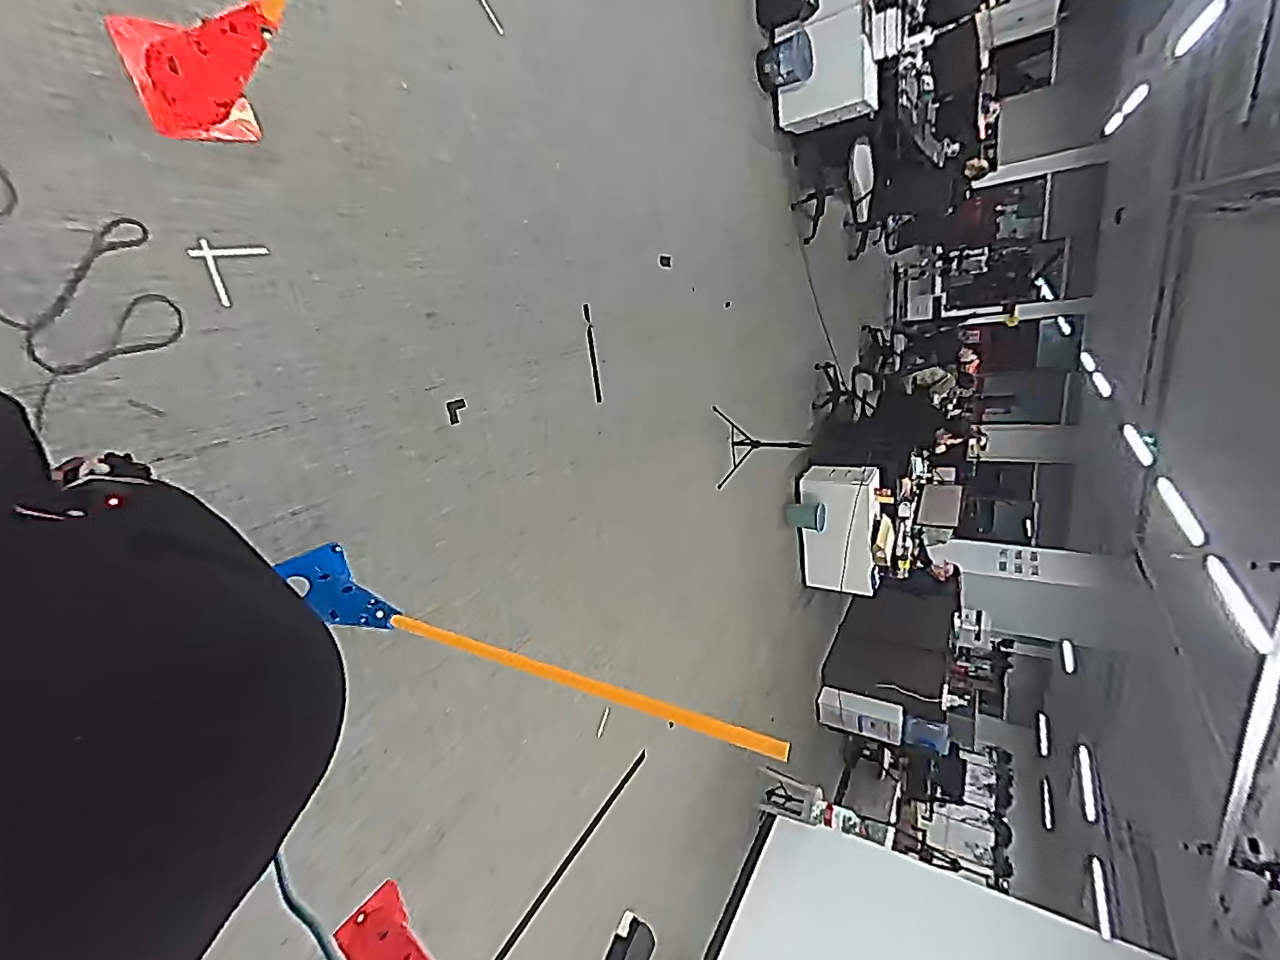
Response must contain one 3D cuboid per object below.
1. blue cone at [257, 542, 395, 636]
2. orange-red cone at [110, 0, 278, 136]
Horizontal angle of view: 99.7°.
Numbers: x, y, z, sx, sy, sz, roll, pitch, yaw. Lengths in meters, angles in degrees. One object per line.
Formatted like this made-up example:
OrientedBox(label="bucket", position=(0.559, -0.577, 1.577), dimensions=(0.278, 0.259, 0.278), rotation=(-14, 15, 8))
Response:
OrientedBox(label="blue cone", position=(-0.687, 0.279, 1.249), dimensions=(0.193, 0.380, 0.192), rotation=(-28, 116, -53))
OrientedBox(label="orange-red cone", position=(-0.765, -0.800, 0.994), dimensions=(0.199, 0.360, 0.198), rotation=(-38, 123, -47))
